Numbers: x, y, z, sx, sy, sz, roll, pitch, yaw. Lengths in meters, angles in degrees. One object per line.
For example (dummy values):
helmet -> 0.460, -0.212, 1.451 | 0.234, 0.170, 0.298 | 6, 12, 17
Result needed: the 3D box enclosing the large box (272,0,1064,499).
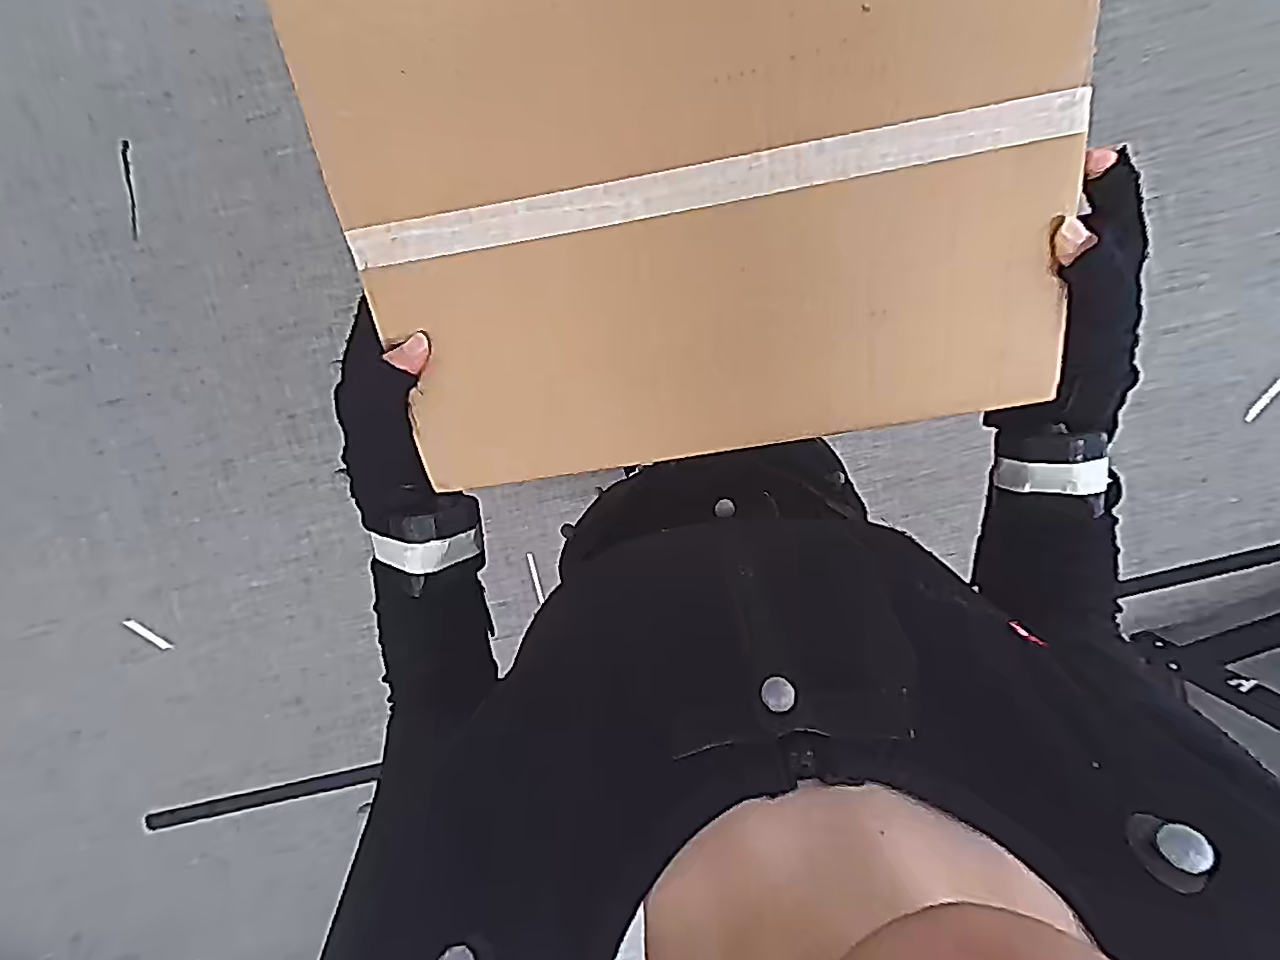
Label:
large box -> 0.033, -0.214, 0.449 | 0.408, 0.320, 0.320 | -9, 111, 4
